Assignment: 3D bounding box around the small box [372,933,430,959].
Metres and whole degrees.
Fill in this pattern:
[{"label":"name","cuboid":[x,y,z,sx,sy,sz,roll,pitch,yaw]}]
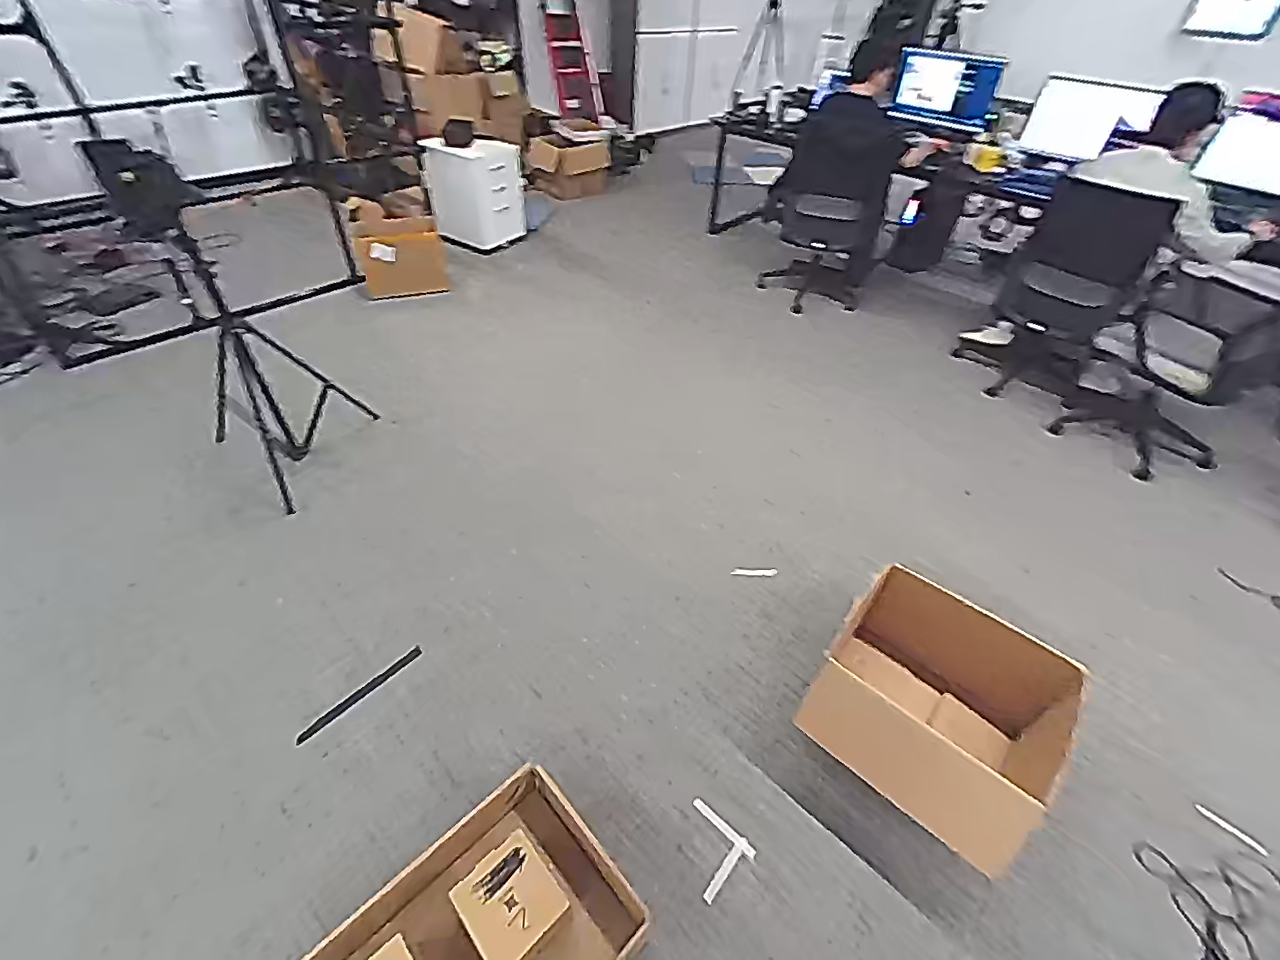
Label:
[{"label":"small box","cuboid":[-0.451,0.969,0.963,0.179,0.176,0.168,-30,55,-32]}]
